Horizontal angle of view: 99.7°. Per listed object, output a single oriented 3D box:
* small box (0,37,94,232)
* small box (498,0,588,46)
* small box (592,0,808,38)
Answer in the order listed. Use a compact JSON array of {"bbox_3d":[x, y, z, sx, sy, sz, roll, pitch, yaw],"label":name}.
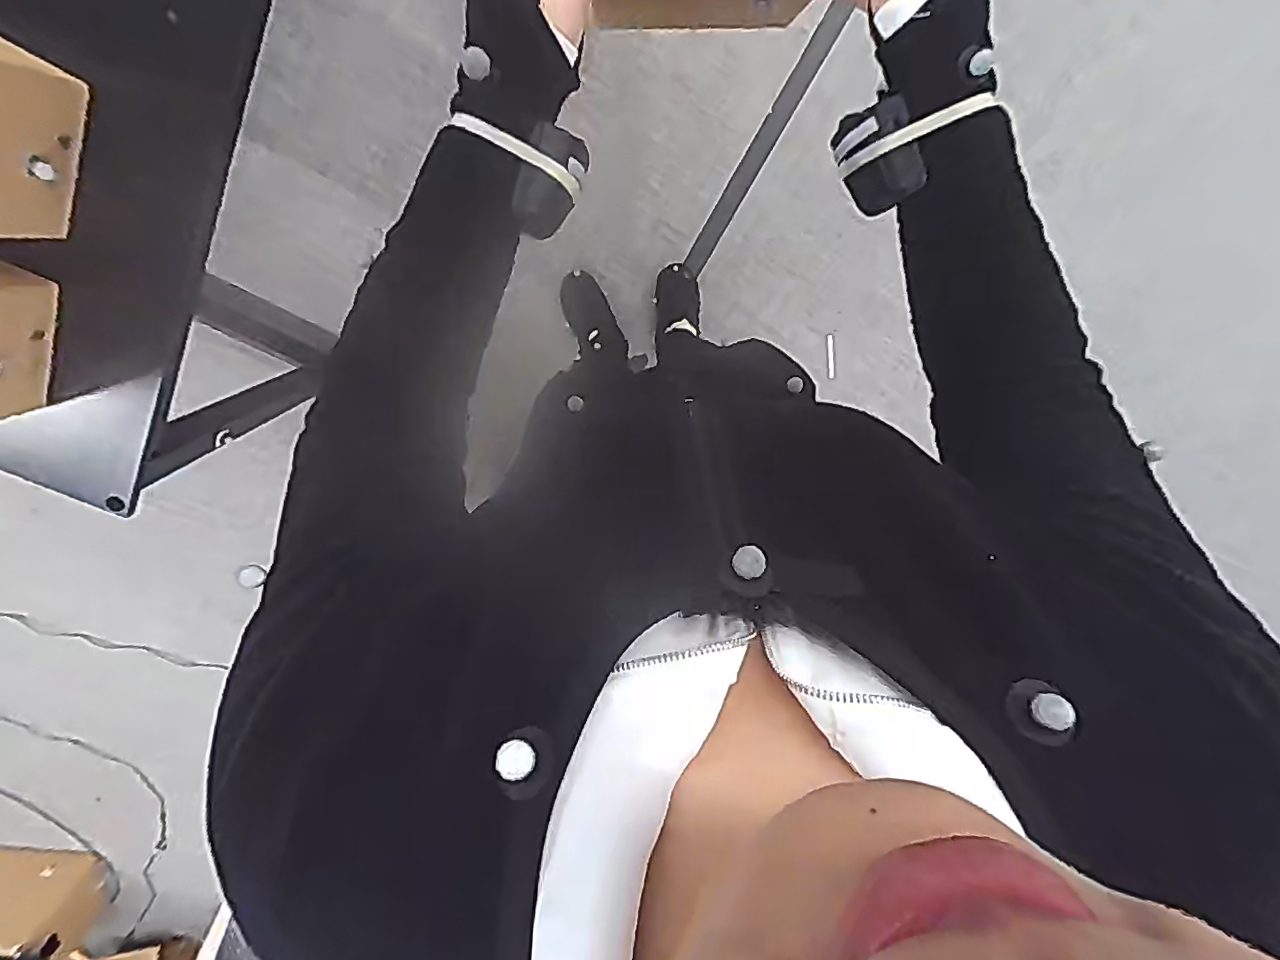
[{"bbox_3d":[-0.667,-0.339,0.483,0.179,0.176,0.168,26,110,-15],"label":"small box"},{"bbox_3d":[-0.202,-0.979,1.028,0.168,0.176,0.179,-17,114,4],"label":"small box"},{"bbox_3d":[0.048,-0.437,0.377,0.179,0.176,0.168,-3,115,-1],"label":"small box"}]
